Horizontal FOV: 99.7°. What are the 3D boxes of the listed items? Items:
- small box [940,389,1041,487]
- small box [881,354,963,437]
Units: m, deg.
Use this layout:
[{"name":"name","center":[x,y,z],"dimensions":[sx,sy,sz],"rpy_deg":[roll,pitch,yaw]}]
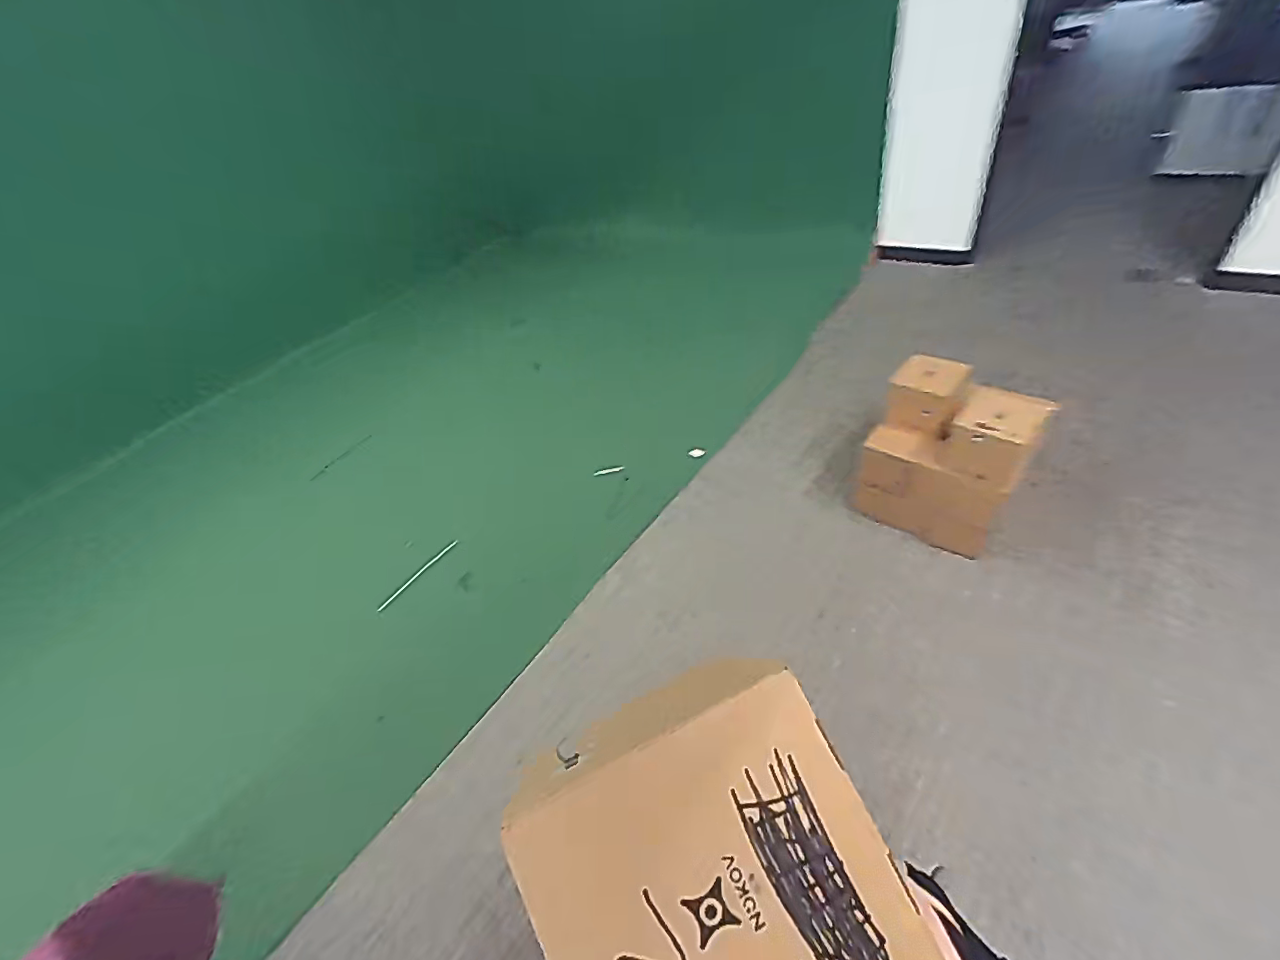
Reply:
[{"name":"small box","center":[0.945,-0.115,1.472],"dimensions":[0.168,0.176,0.179],"rpy_deg":[28,56,36]},{"name":"small box","center":[0.855,-0.256,1.652],"dimensions":[0.168,0.176,0.179],"rpy_deg":[26,55,35]}]
